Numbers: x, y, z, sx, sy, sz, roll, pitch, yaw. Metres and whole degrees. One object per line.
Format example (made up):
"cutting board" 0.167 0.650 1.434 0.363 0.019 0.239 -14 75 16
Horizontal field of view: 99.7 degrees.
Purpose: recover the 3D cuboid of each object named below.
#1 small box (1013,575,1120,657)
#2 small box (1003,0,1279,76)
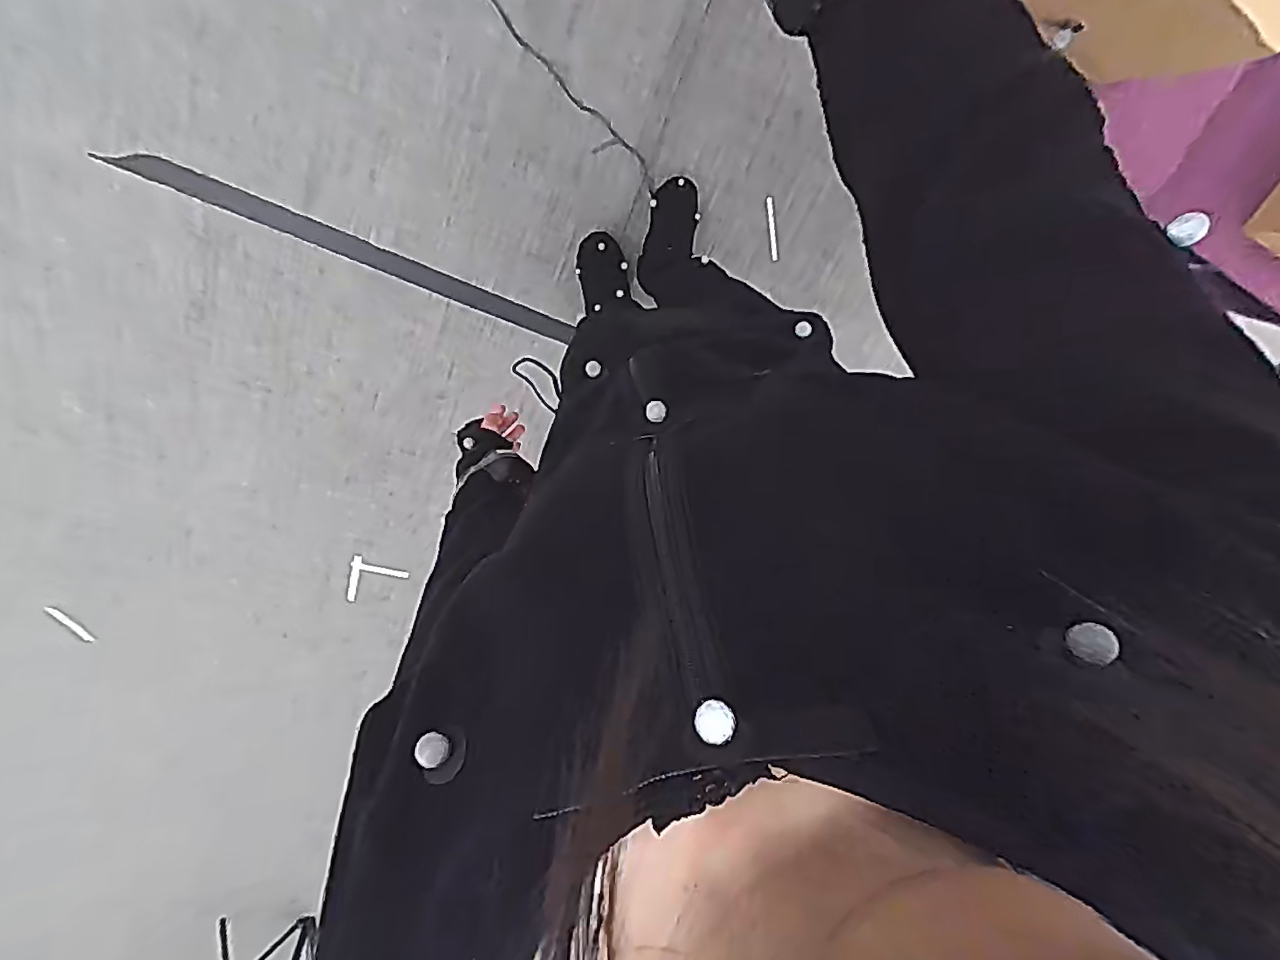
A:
"small box" 1.356 0.432 1.734 0.168 0.176 0.179 20 116 -18
"small box" 0.433 -0.450 0.420 0.179 0.176 0.168 19 115 -19
